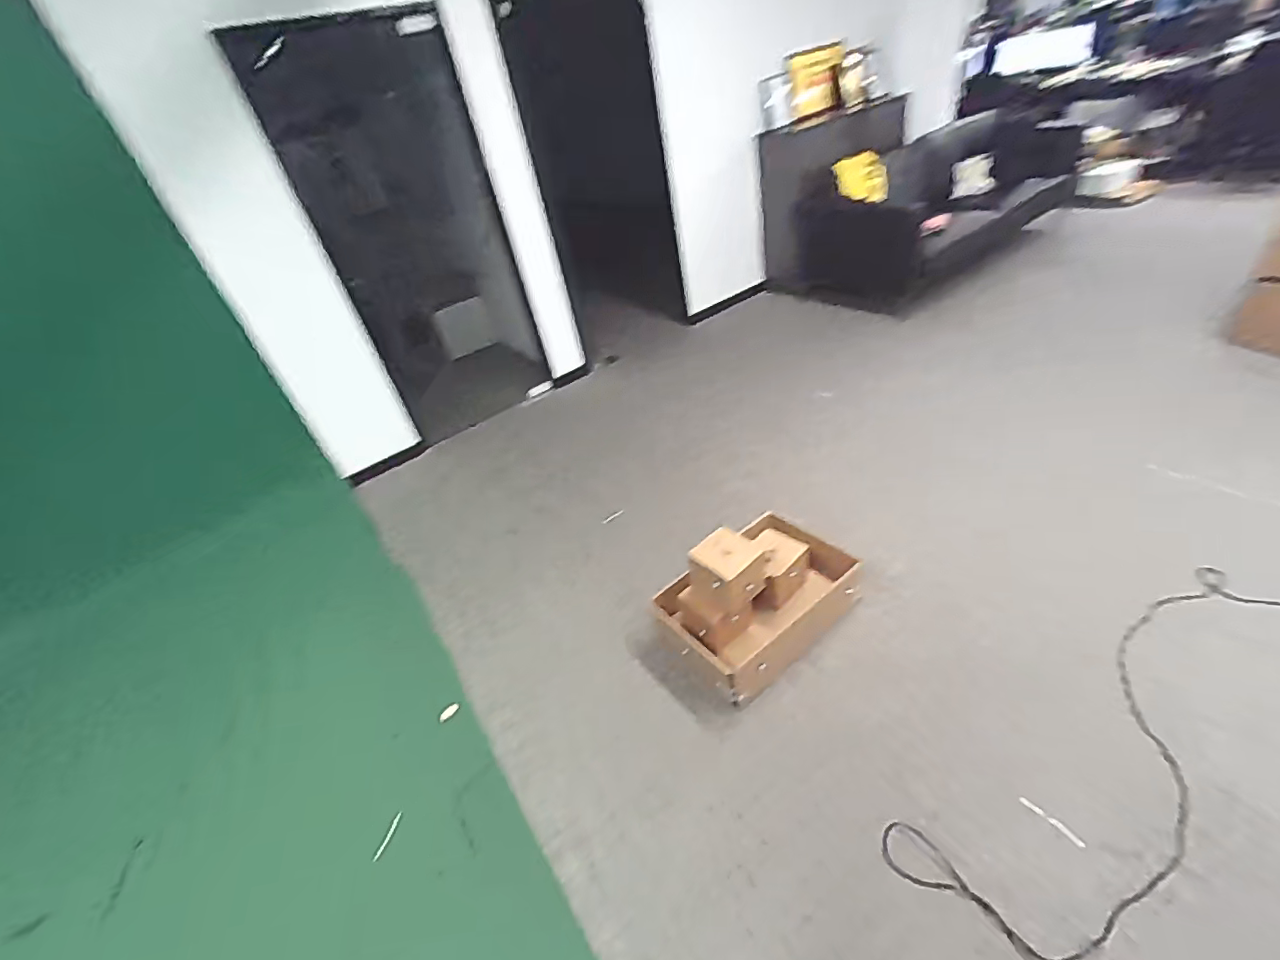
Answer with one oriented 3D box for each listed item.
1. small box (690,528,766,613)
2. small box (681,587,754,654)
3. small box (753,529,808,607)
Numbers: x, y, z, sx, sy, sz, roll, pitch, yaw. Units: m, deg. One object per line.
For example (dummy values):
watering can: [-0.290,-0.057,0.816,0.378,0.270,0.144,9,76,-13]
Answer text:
small box: [0.280,0.289,1.692,0.168,0.176,0.179,-34,41,-28]
small box: [0.262,0.434,1.780,0.179,0.176,0.168,-33,41,-27]
small box: [0.472,0.307,1.878,0.179,0.176,0.168,-37,42,-28]
